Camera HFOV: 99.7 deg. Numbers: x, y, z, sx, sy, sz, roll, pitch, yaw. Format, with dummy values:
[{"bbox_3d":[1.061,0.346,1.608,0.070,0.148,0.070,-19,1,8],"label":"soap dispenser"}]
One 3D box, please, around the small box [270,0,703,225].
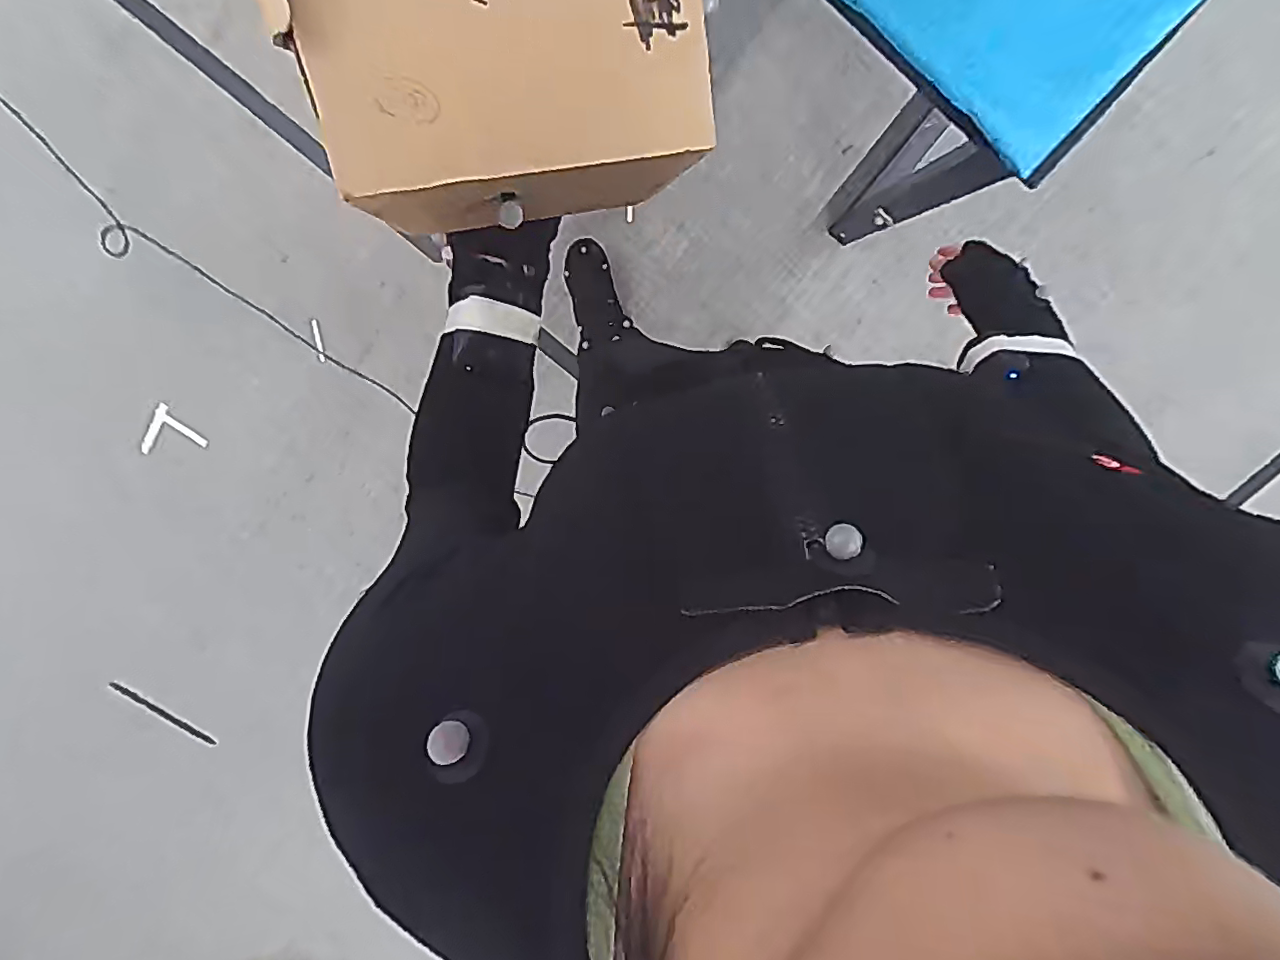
[{"bbox_3d":[-0.081,-0.250,0.295,0.179,0.176,0.168,-14,110,-6],"label":"small box"}]
